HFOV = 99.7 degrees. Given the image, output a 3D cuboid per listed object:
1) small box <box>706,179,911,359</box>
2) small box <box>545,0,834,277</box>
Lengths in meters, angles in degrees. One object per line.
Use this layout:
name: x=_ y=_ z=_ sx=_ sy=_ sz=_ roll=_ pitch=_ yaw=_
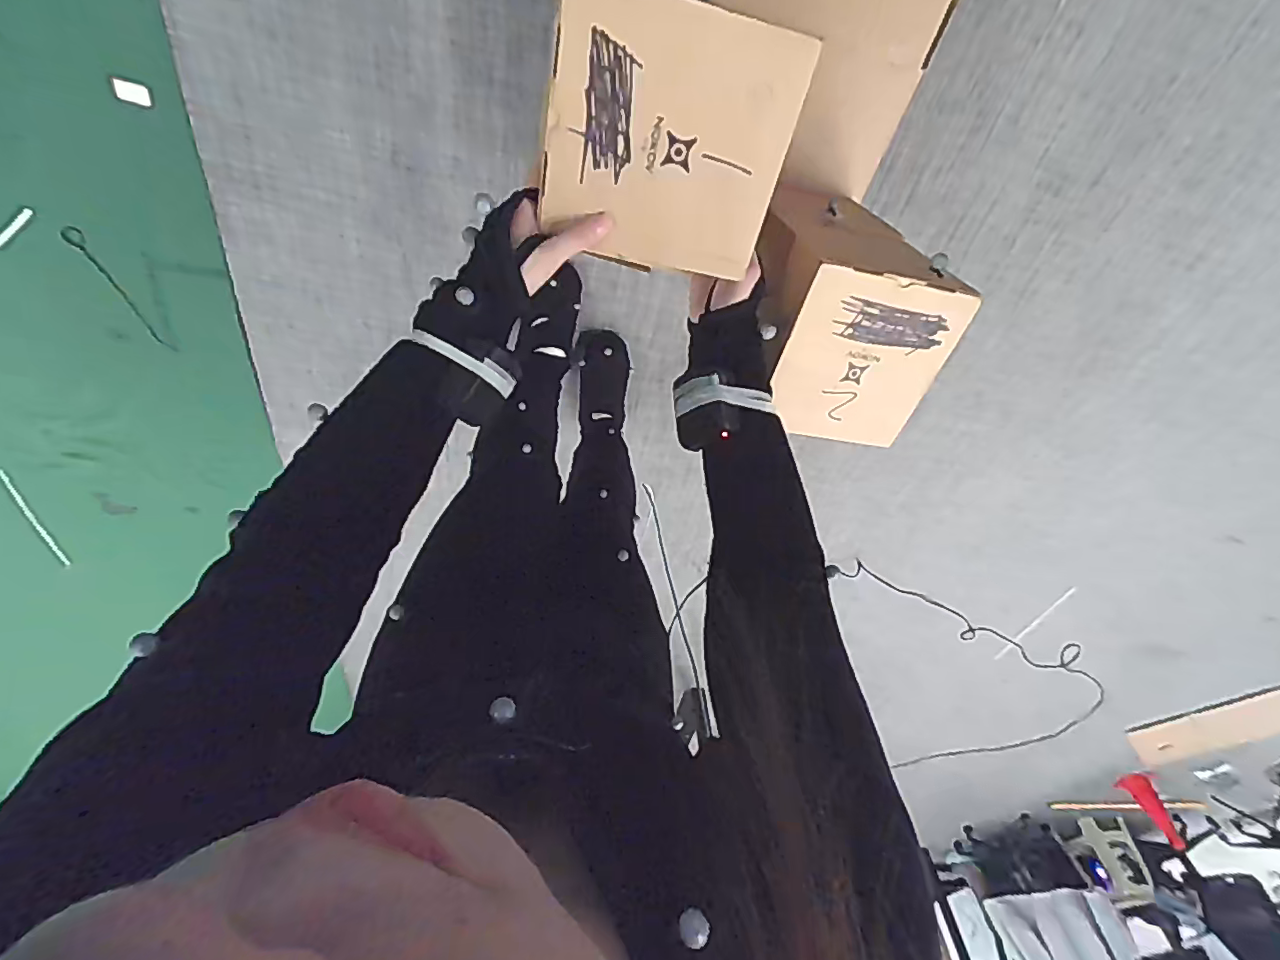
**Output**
small box: x=0.200 y=-0.280 z=0.701 sx=0.179 sy=0.176 sz=0.168 roll=6 pitch=129 yaw=-11
small box: x=0.024 y=-0.295 z=0.452 sx=0.179 sy=0.176 sz=0.168 roll=8 pitch=129 yaw=-10
